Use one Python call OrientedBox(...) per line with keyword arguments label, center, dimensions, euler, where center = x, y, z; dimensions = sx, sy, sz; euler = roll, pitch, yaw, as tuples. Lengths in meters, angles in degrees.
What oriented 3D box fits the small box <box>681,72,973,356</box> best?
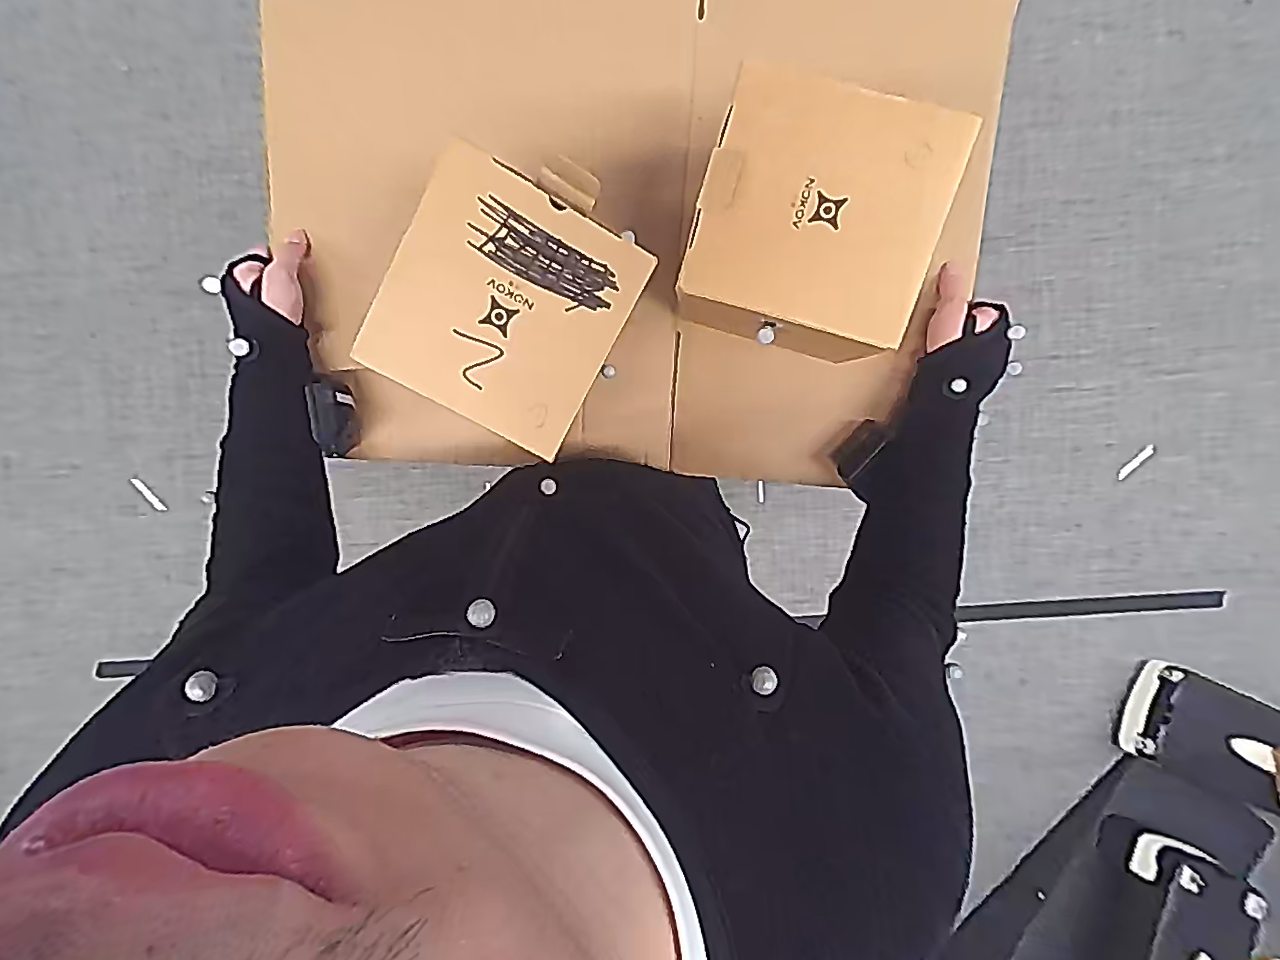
OrientedBox(label="small box", center=(0.147, -0.215, 0.488), dimensions=(0.179, 0.176, 0.168), euler=(17, 101, 5))
